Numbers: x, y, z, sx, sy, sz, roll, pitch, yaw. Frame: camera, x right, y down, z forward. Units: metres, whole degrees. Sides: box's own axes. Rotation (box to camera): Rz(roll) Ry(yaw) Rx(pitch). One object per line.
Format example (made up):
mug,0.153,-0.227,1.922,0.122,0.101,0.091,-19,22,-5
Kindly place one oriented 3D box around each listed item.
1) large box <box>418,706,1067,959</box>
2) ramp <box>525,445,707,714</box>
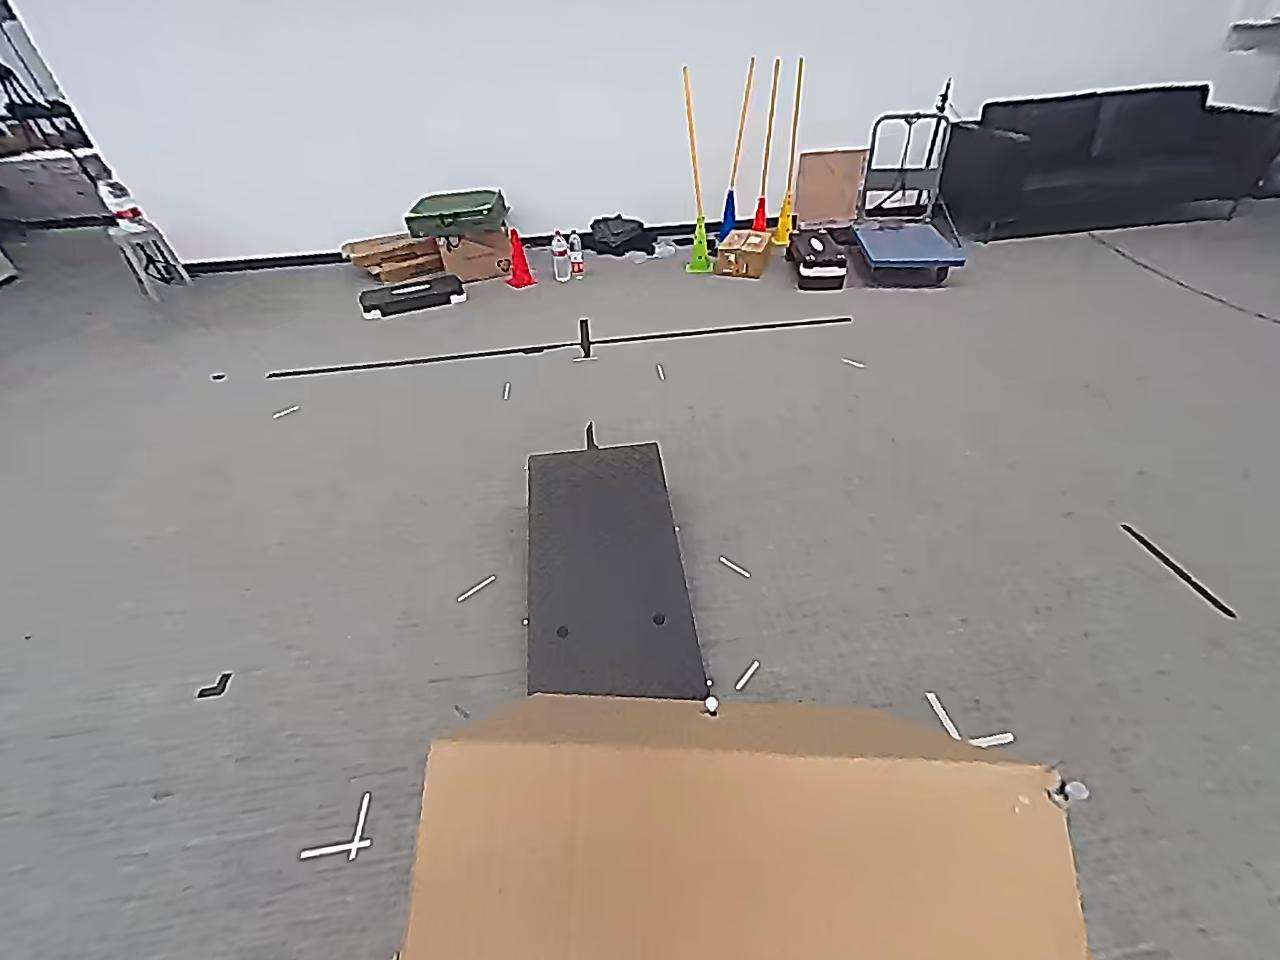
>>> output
large box,0.061,0.375,0.464,0.408,0.320,0.320,1,75,1
ramp,-0.120,0.278,1.728,0.509,0.206,0.991,-7,41,-6
